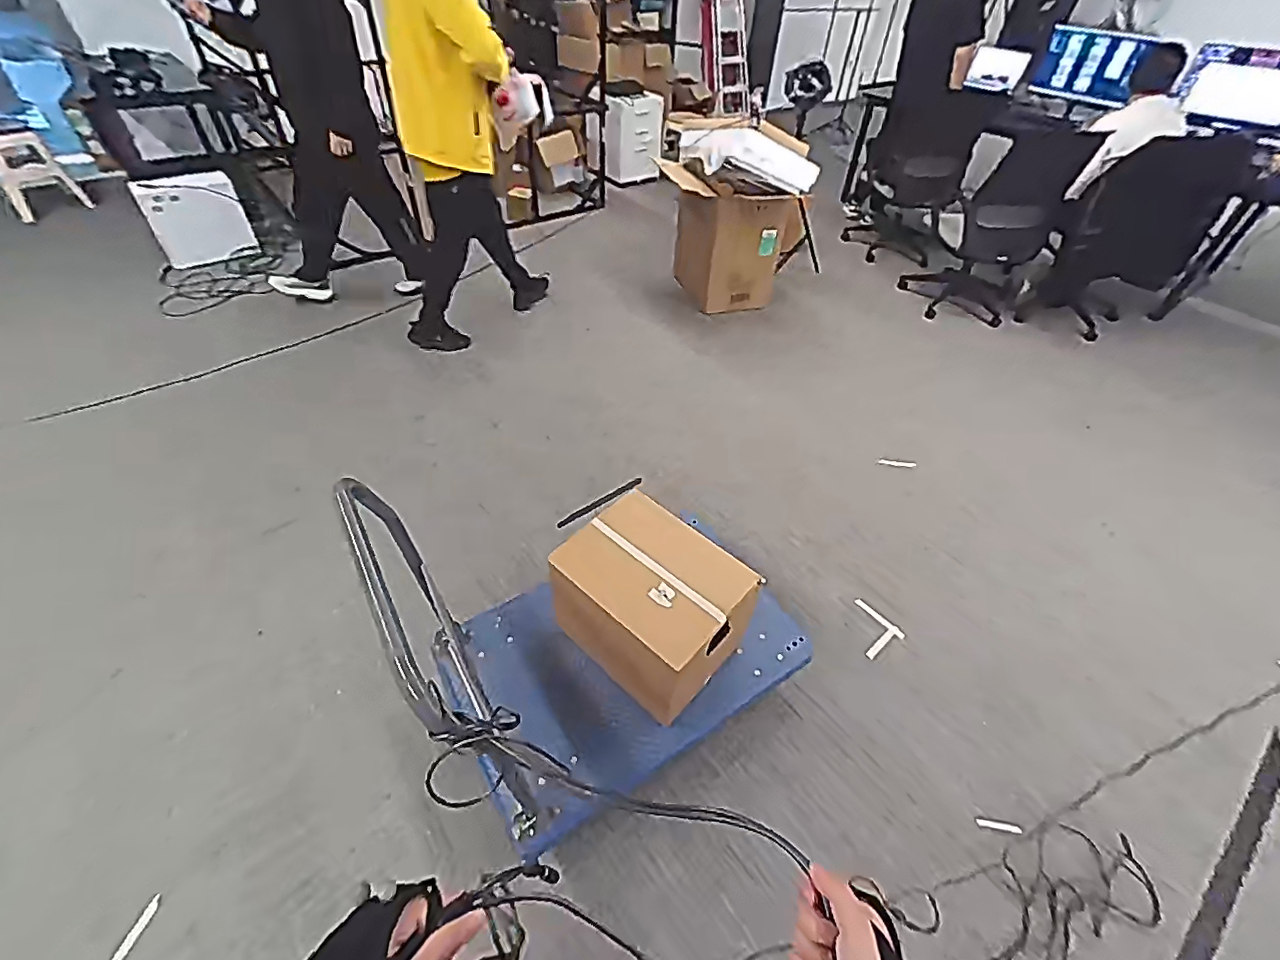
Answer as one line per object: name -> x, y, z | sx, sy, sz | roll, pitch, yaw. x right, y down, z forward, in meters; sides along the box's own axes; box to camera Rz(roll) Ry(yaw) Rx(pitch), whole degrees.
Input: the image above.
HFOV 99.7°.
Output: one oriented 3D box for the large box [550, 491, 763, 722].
large box -> 0.028, 0.304, 1.348 | 0.408, 0.320, 0.320 | 35, 55, 26
